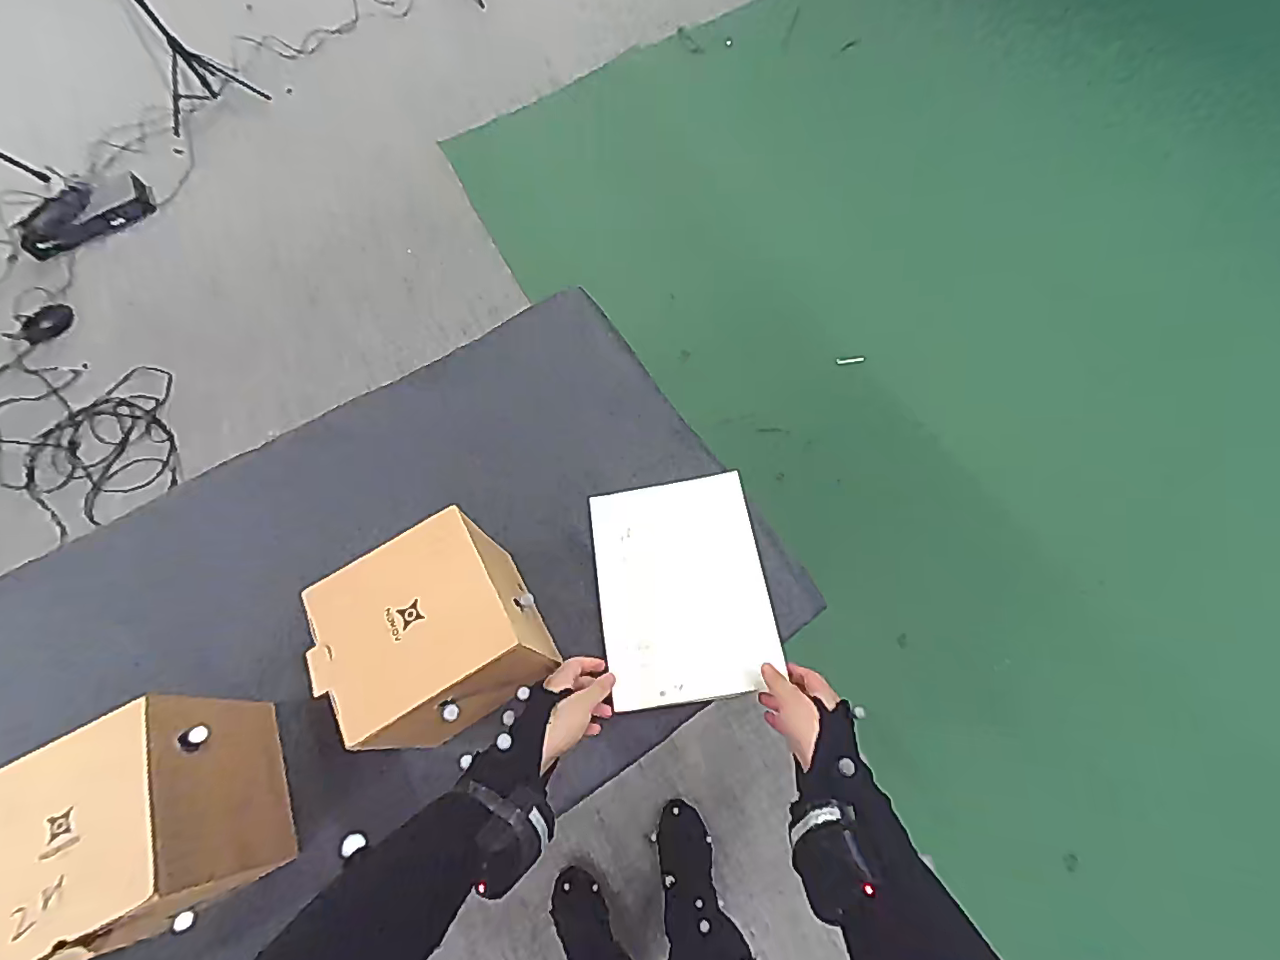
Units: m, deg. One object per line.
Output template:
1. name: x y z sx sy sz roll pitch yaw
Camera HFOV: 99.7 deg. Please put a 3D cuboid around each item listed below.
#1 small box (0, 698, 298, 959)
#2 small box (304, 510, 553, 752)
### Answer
1. small box: -0.486 0.344 0.542 0.168 0.176 0.179 -28 65 -4
2. small box: -0.210 0.165 0.585 0.179 0.176 0.168 -32 65 -6
